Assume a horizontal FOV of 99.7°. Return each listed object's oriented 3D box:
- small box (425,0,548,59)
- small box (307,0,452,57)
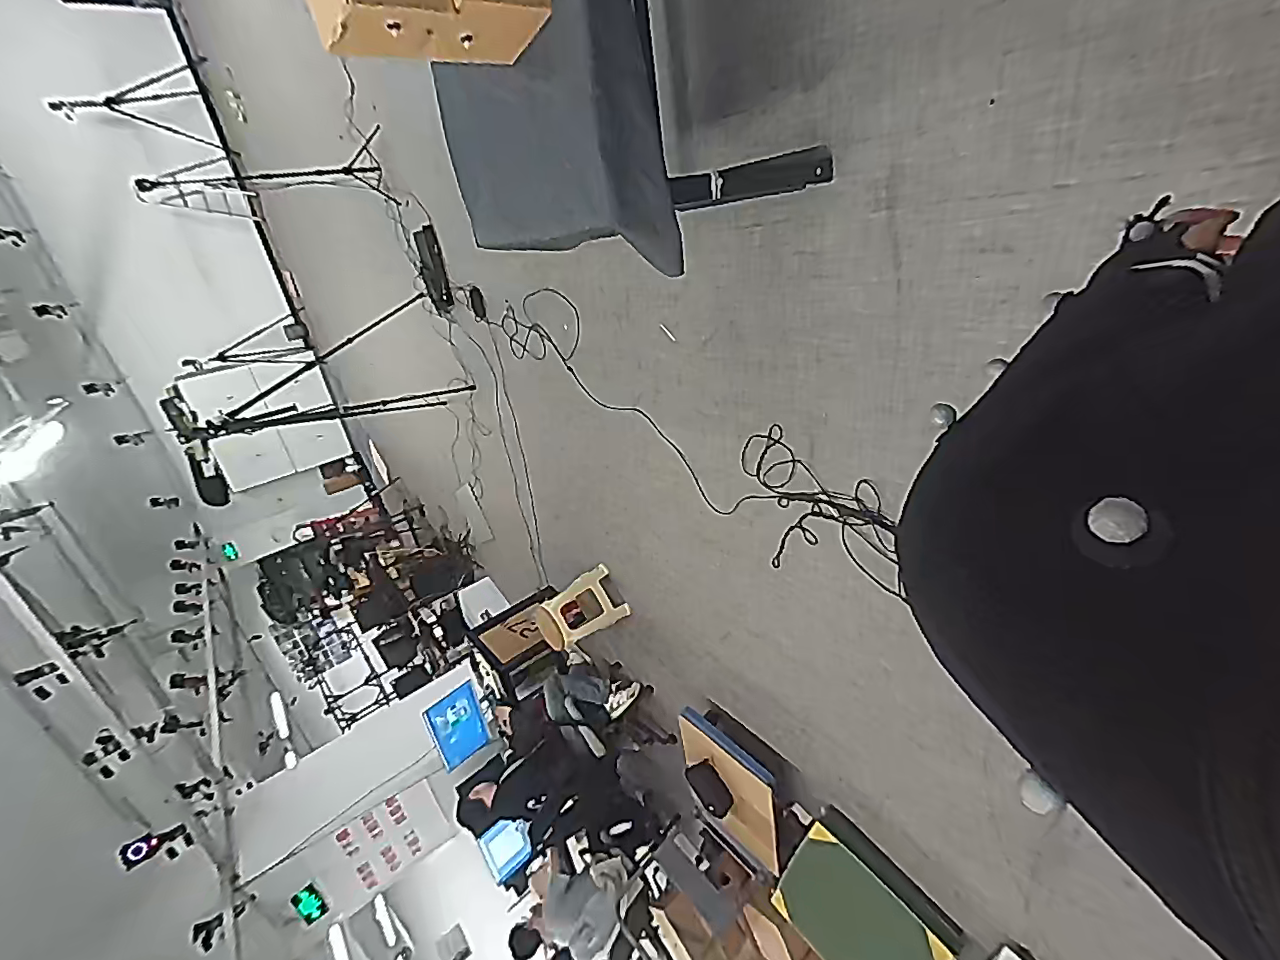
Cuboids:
[{"bbox_3d":[-0.276,-0.835,0.899,0.179,0.176,0.168,8,119,52],"label":"small box"},{"bbox_3d":[-0.410,-0.780,0.823,0.168,0.176,0.179,13,122,50],"label":"small box"}]
